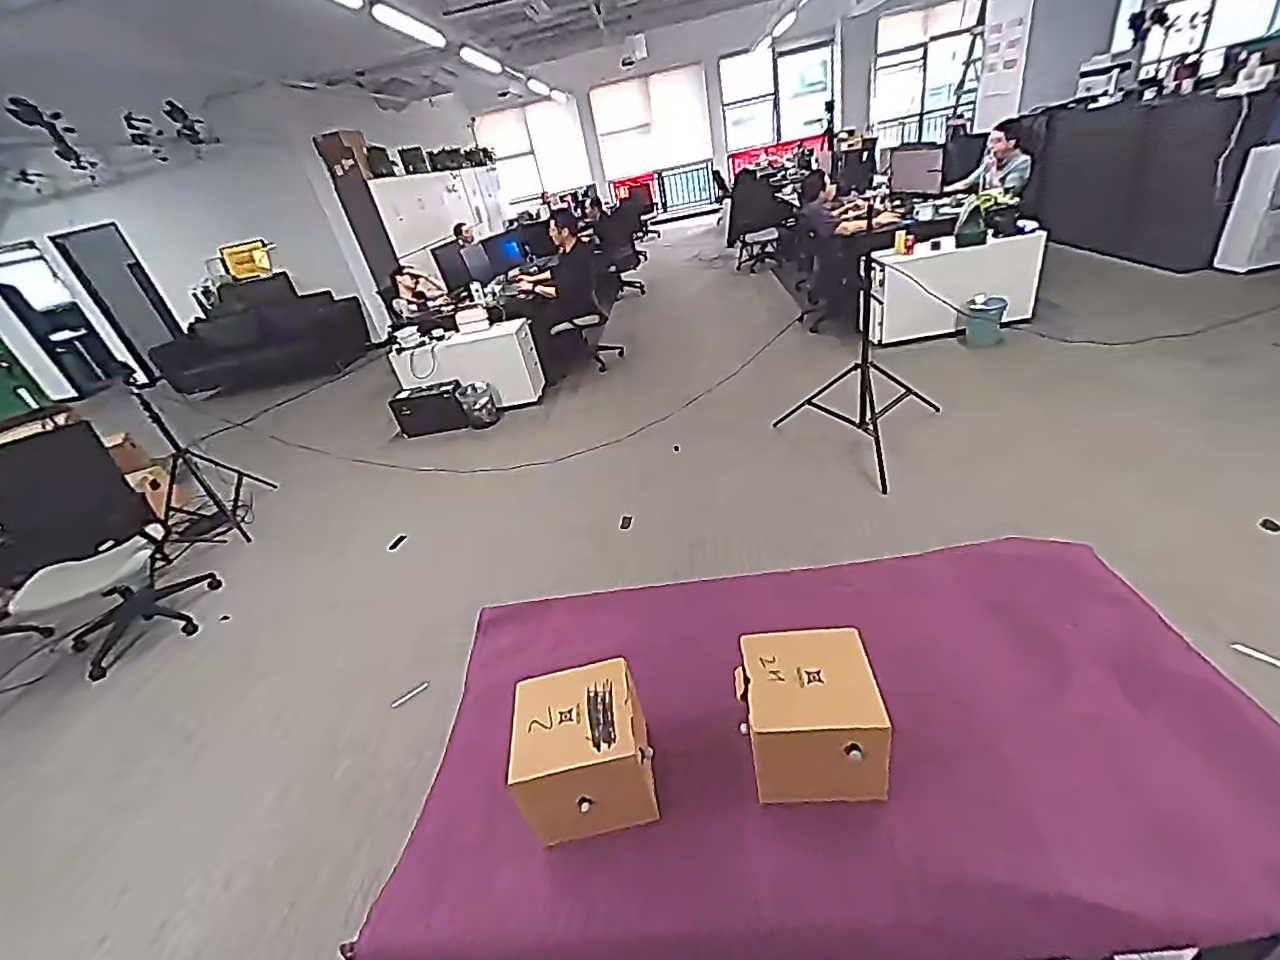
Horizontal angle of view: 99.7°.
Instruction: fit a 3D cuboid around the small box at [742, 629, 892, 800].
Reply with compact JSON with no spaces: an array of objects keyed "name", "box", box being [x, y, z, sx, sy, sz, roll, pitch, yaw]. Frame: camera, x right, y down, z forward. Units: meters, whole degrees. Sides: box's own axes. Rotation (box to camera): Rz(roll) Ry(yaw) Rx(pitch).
[{"name":"small box","box":[0.250,0.343,0.792,0.179,0.176,0.168,-8,30,9]}]
